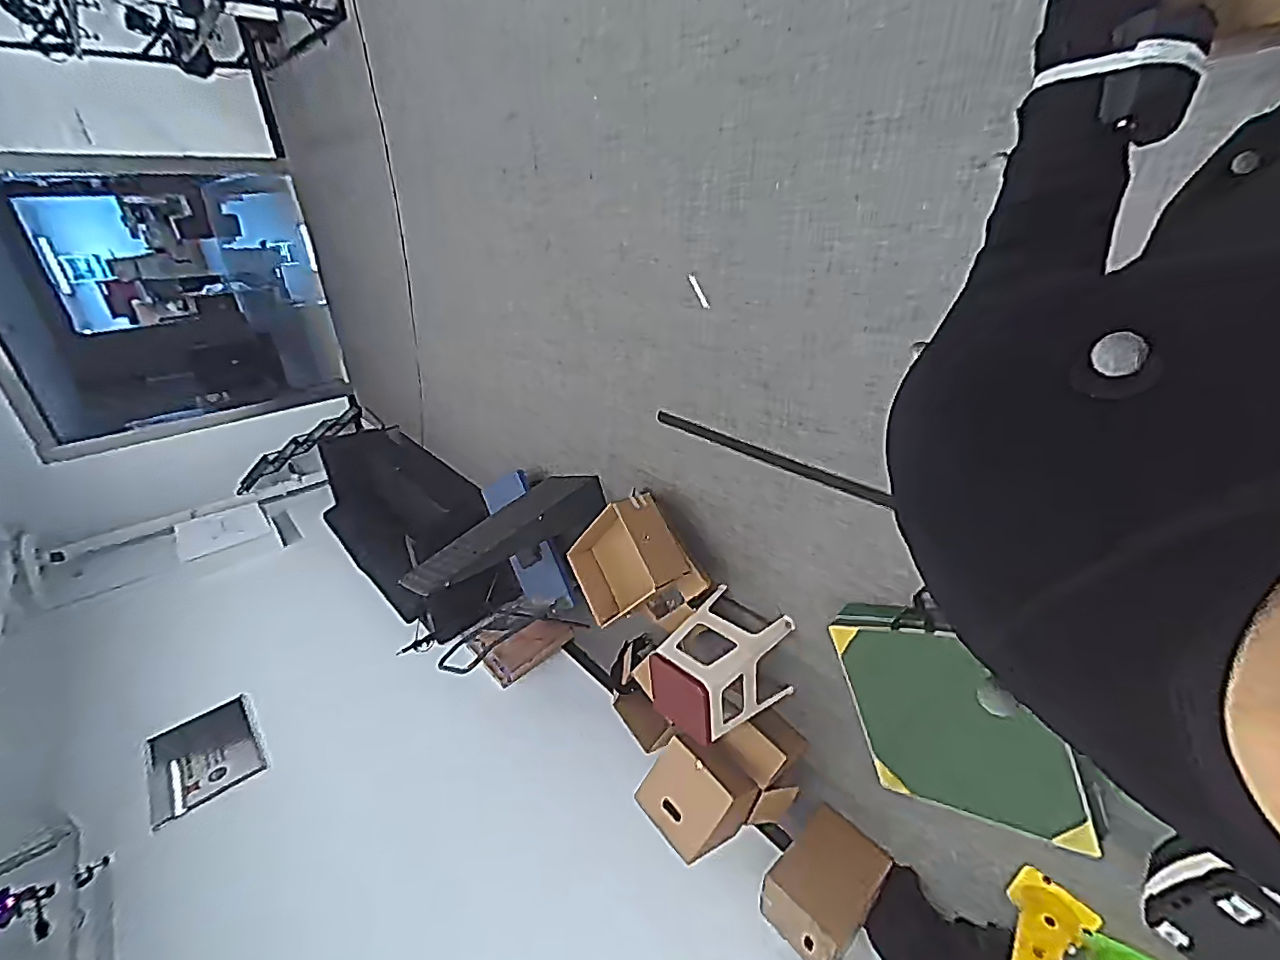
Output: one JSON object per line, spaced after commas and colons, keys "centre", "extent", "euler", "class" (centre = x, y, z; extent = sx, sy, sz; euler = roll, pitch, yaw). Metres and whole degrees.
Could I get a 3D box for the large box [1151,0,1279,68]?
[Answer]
{"centre": [0.572, -0.452, 0.270], "extent": [0.408, 0.320, 0.320], "euler": [17, 128, 41], "class": "large box"}
